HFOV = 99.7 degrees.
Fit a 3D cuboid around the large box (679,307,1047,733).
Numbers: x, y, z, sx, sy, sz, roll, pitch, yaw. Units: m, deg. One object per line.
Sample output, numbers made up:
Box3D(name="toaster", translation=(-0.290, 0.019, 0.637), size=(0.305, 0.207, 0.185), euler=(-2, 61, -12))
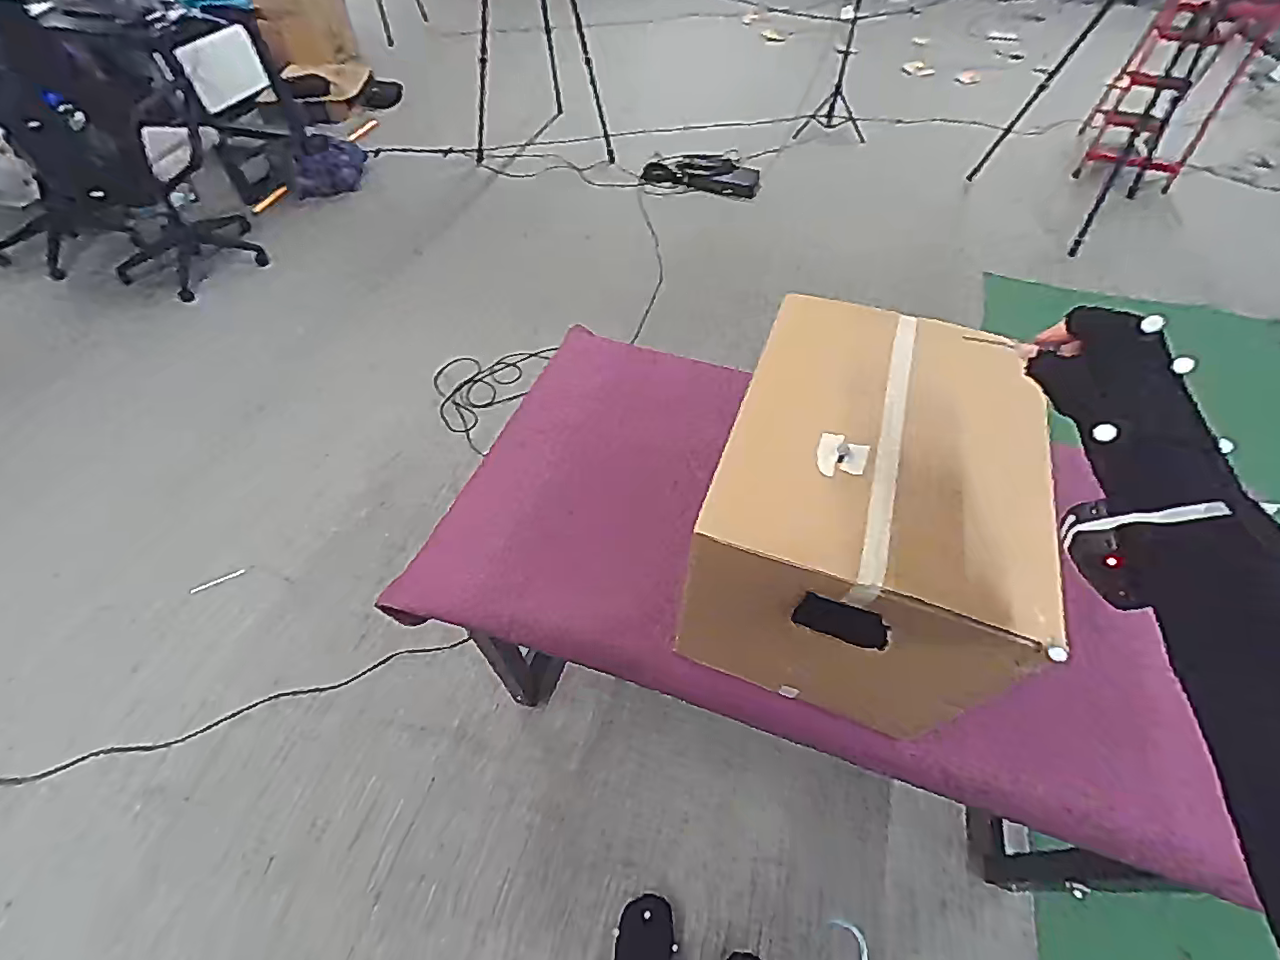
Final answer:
Box3D(name="large box", translation=(0.264, 0.045, 0.710), size=(0.320, 0.320, 0.408), euler=(17, 55, 13))
